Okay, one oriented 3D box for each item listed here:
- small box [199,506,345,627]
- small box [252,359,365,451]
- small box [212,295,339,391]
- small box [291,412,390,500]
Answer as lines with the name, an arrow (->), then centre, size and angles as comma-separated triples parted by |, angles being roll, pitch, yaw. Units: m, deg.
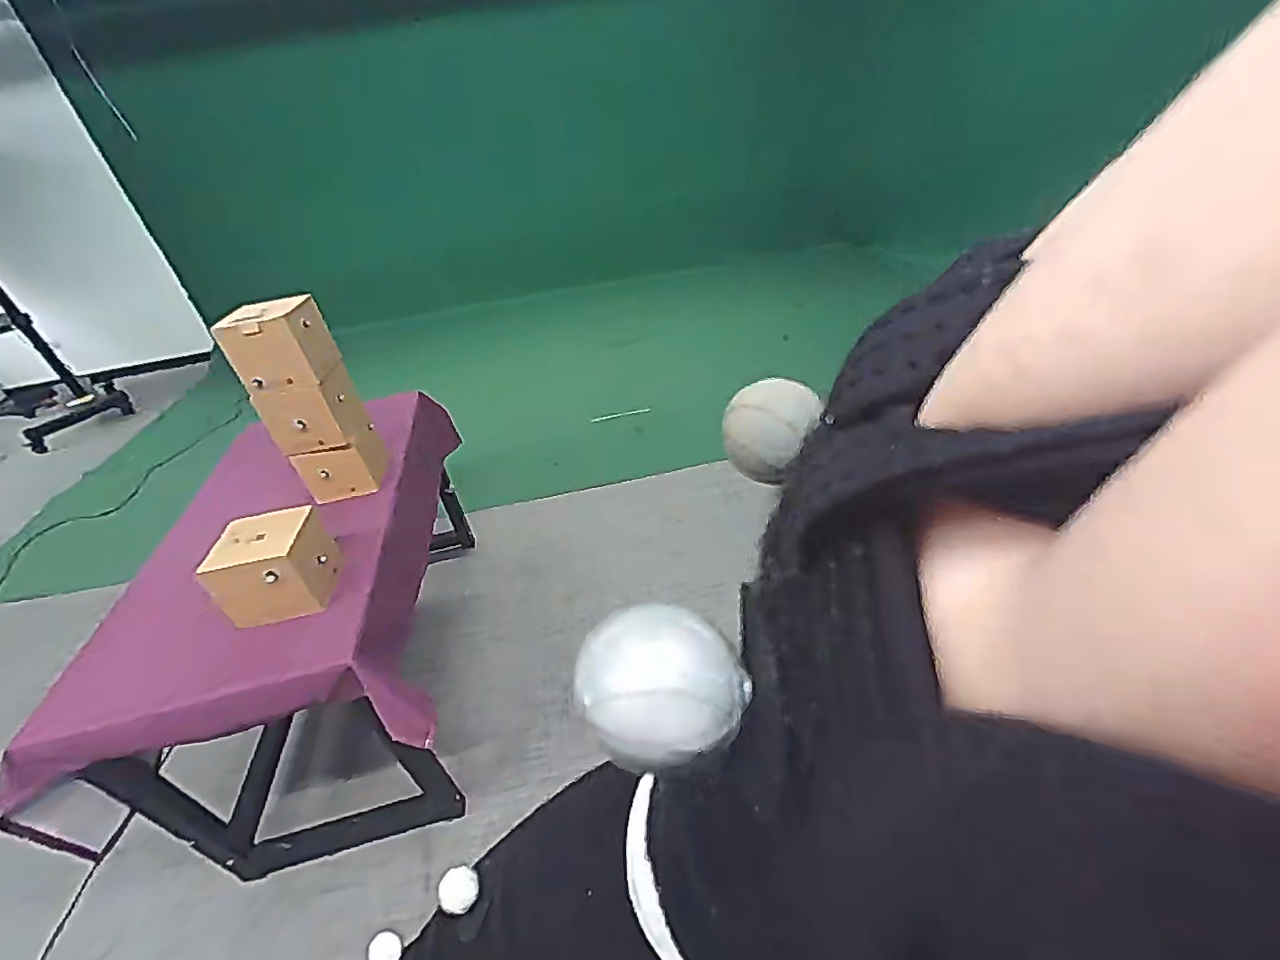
small box -> -0.762, 0.184, 1.148 | 0.179, 0.176, 0.168 | -12, 36, -3
small box -> -0.838, -0.188, 1.391 | 0.168, 0.176, 0.179 | -11, 37, -2
small box -> -0.861, -0.324, 1.301 | 0.168, 0.176, 0.179 | -11, 35, -2
small box -> -0.816, -0.062, 1.494 | 0.168, 0.176, 0.179 | -13, 36, -4
